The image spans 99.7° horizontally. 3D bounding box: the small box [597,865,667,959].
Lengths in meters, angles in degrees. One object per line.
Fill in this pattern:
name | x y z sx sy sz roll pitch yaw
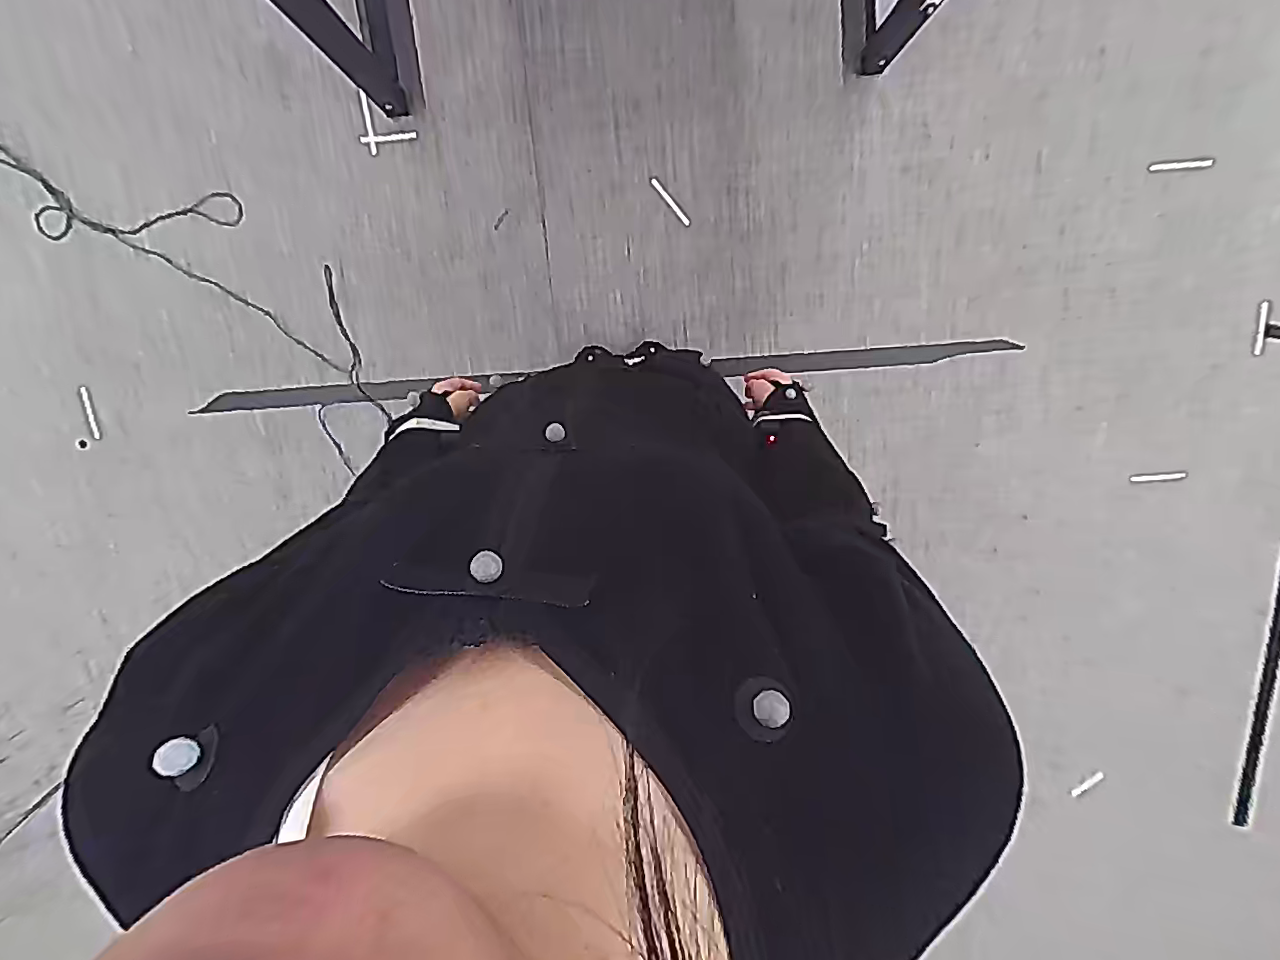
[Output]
small box | -0.019 1.205 1.482 0.168 0.176 0.179 -9 103 0
